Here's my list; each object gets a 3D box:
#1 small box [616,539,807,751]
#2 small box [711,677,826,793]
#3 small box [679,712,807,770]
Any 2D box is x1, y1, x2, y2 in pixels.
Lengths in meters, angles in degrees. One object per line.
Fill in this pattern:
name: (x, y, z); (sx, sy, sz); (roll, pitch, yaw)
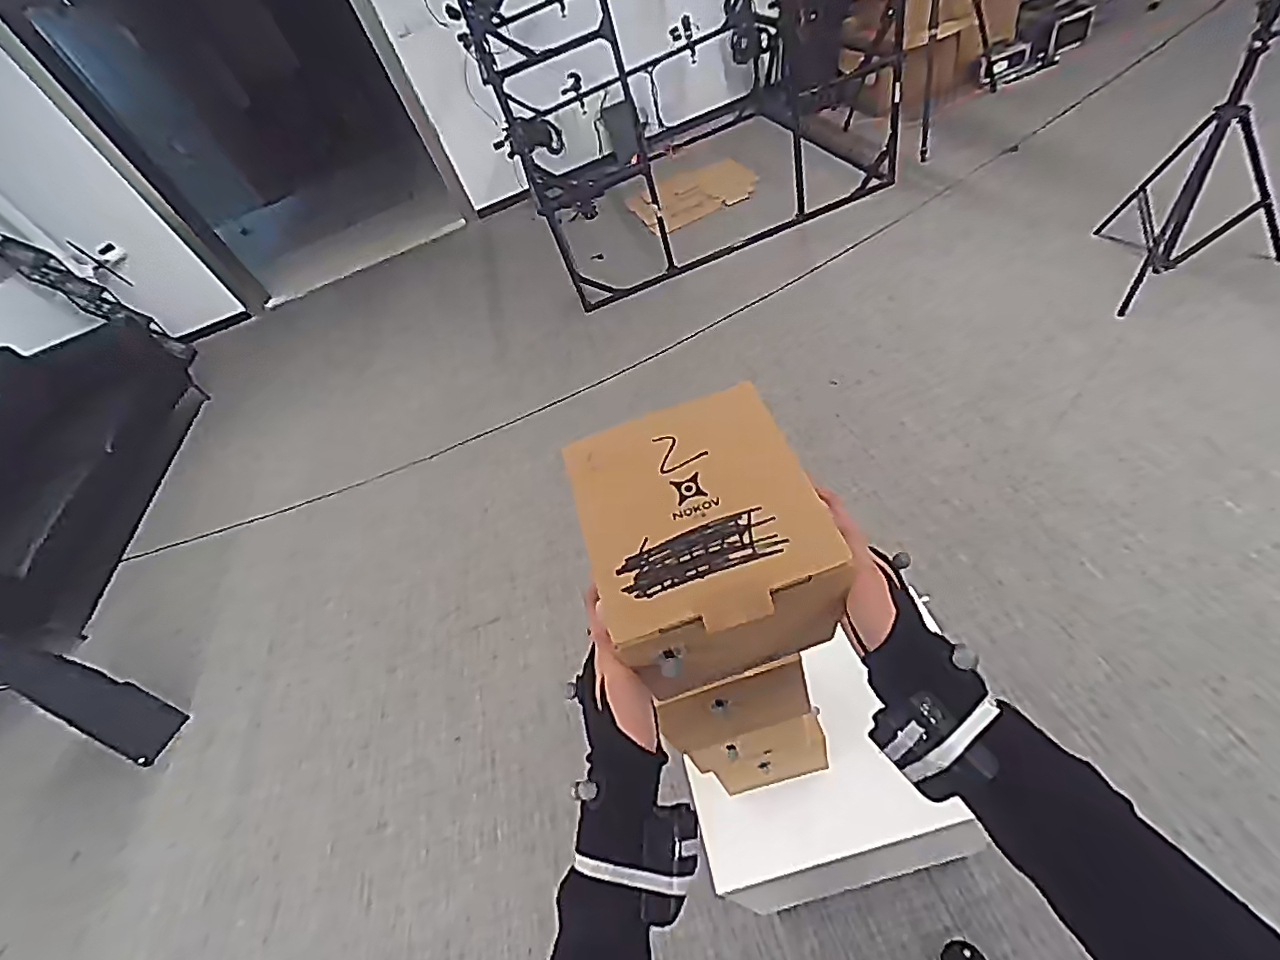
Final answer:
small box: (0.088, 0.207, 0.661); (0.179, 0.176, 0.168); (-20, 46, 4)
small box: (0.196, 0.400, 0.903); (0.179, 0.176, 0.168); (-18, 46, 4)
small box: (0.133, 0.302, 0.789); (0.168, 0.176, 0.179); (-18, 45, 6)
